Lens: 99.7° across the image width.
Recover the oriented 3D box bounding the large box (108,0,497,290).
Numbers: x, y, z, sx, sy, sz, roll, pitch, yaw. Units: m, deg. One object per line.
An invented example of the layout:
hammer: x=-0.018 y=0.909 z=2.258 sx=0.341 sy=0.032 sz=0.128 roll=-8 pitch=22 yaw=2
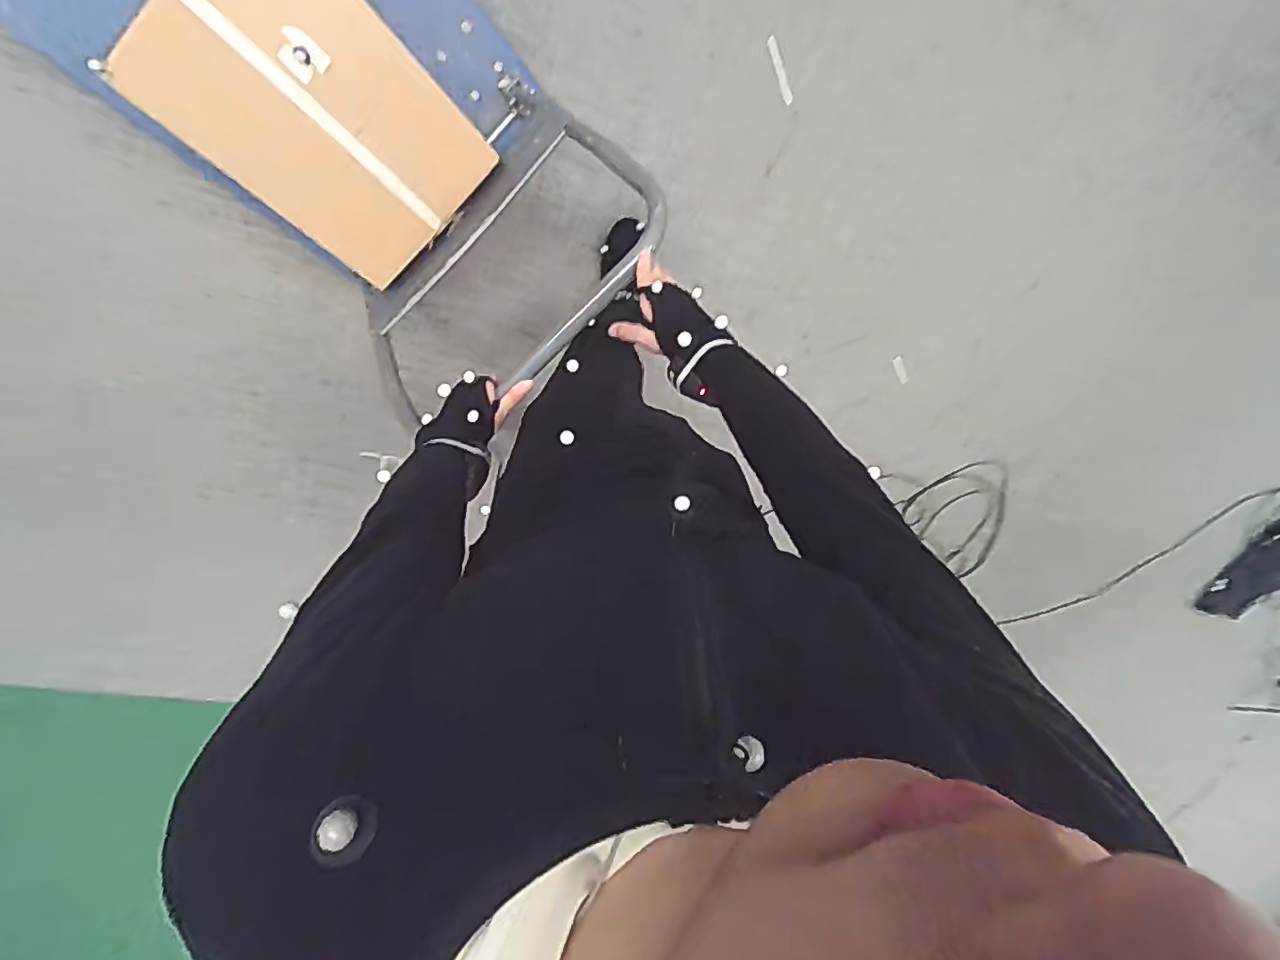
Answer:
large box: x=-0.515 y=-0.610 z=0.904 sx=0.320 sy=0.320 sz=0.408 roll=-43 pitch=135 yaw=10
